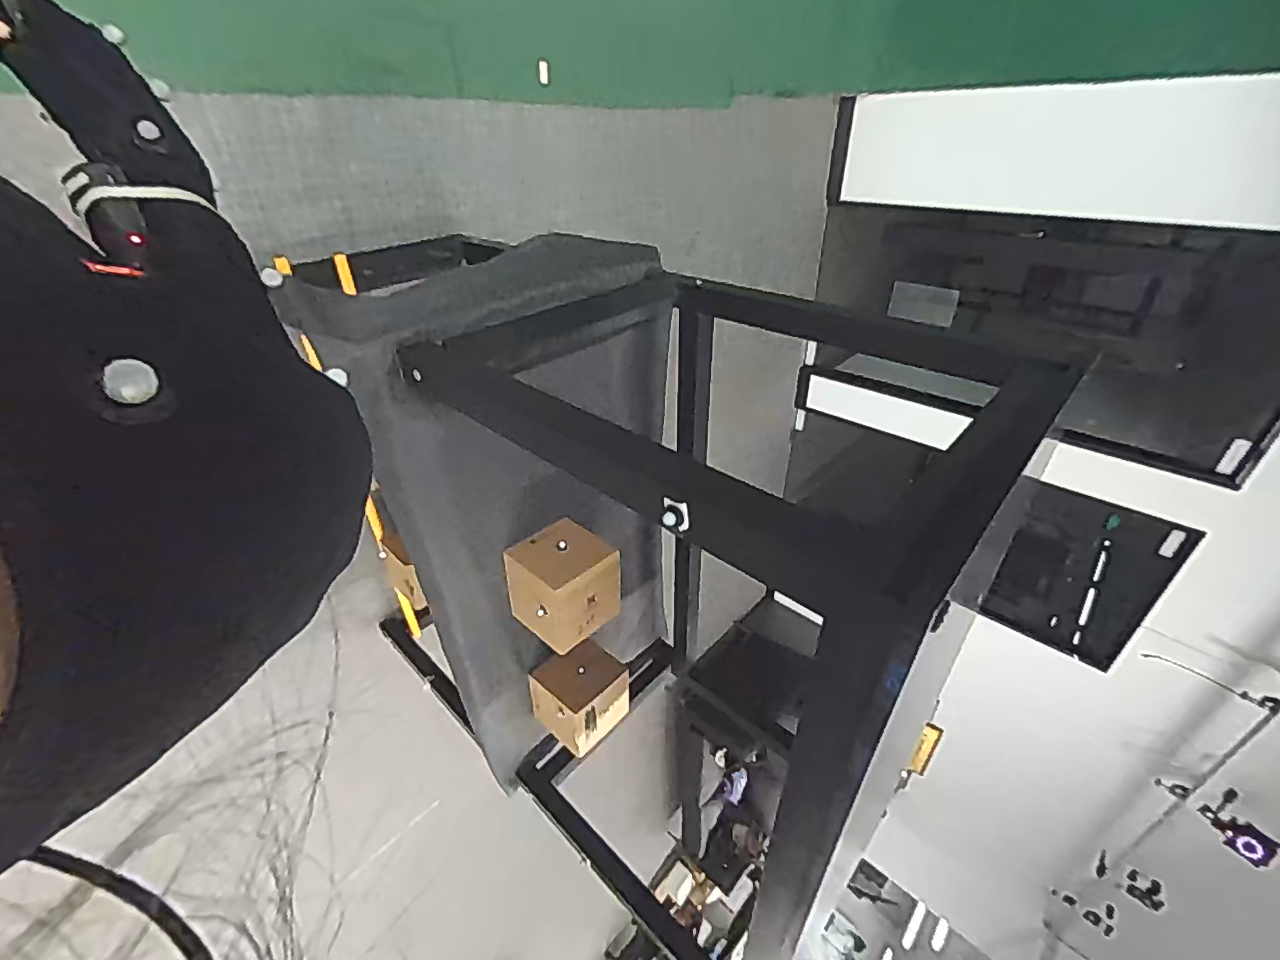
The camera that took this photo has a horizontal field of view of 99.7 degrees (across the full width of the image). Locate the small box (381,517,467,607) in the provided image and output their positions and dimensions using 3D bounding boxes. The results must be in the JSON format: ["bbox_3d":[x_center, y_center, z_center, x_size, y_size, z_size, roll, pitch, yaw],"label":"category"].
[{"bbox_3d":[-0.646,0.237,1.604,0.179,0.176,0.168,-28,132,-39],"label":"small box"}]

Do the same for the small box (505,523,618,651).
[{"bbox_3d":[-0.162,0.207,1.117,0.168,0.176,0.179,-29,132,-39],"label":"small box"}]
